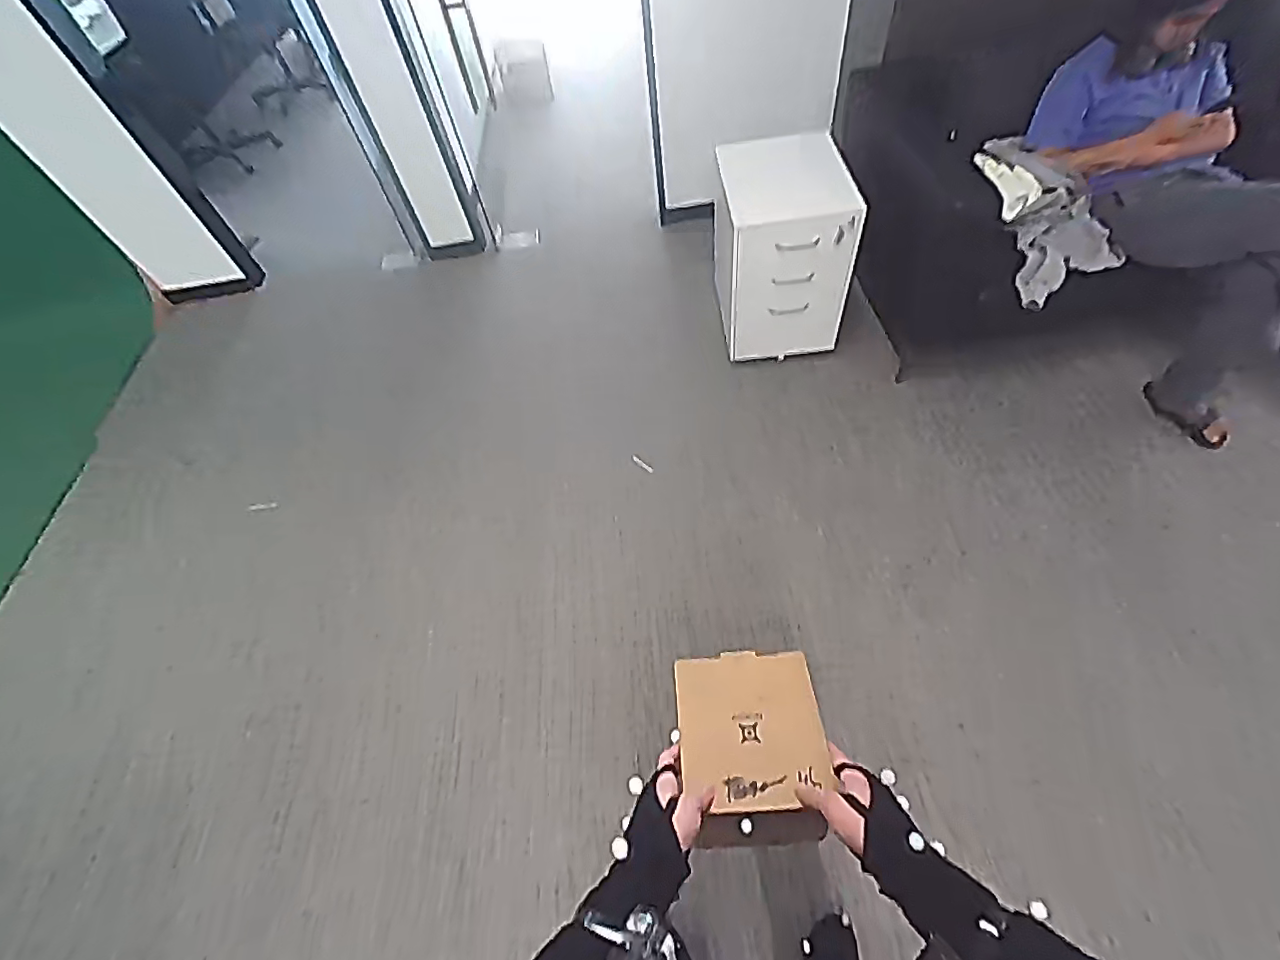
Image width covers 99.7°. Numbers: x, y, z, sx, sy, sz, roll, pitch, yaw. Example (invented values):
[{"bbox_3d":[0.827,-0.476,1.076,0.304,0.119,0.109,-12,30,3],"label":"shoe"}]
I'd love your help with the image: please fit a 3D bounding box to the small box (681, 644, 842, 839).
[{"bbox_3d":[0.139,0.331,0.686,0.168,0.176,0.179,-5,44,4],"label":"small box"}]
